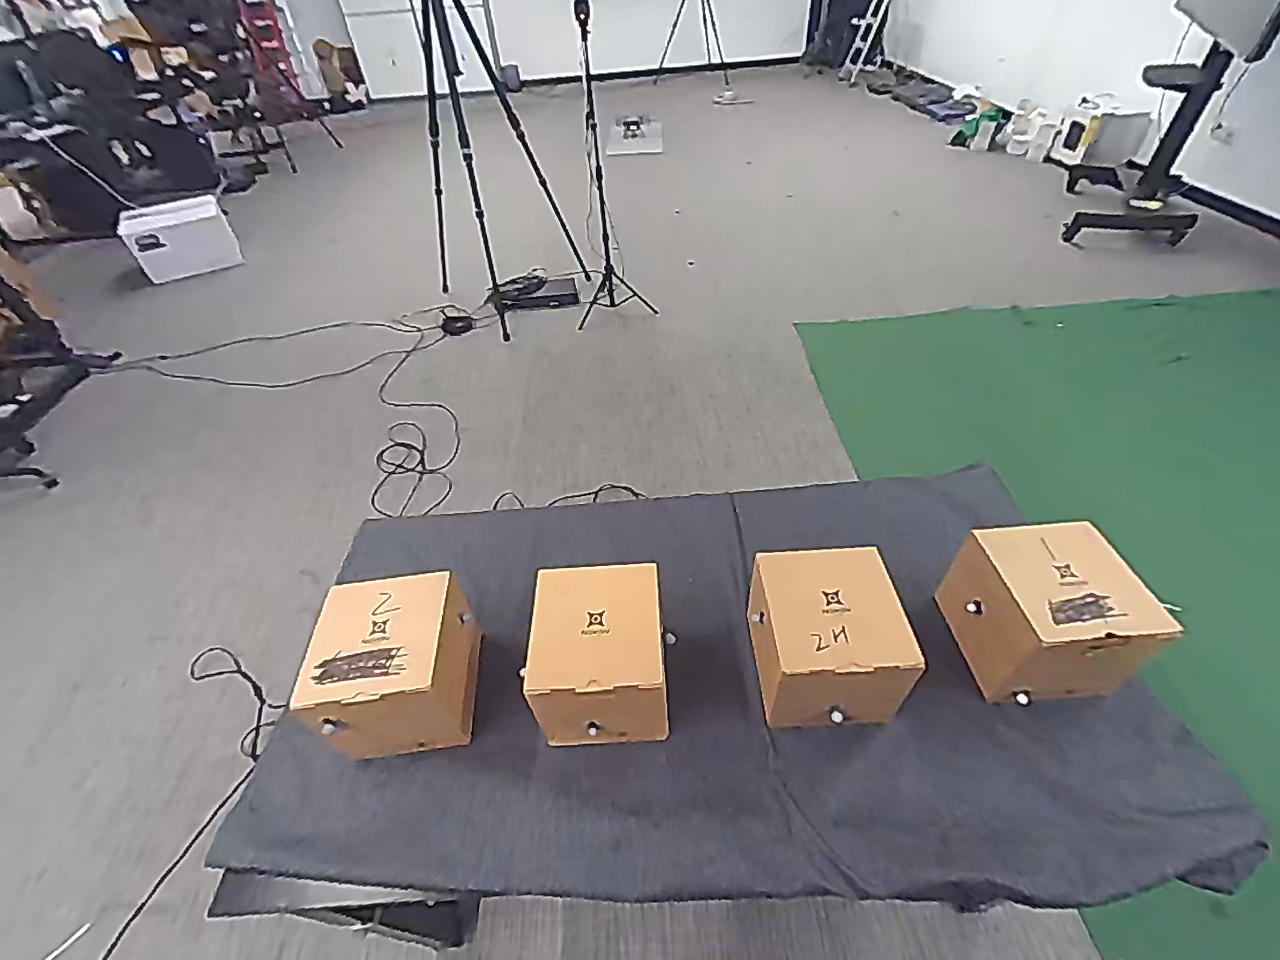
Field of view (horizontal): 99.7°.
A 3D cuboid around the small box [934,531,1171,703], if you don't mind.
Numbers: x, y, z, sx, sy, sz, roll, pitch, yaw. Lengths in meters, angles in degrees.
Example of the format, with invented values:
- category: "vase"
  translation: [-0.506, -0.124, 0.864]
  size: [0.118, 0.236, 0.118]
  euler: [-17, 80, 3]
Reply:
- category: "small box"
  translation: [0.544, 0.194, 0.747]
  size: [0.168, 0.176, 0.179]
  euler: [-4, 44, 0]

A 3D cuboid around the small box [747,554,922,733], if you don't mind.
- category: "small box"
  translation: [0.246, 0.223, 0.738]
  size: [0.168, 0.176, 0.179]
  euler: [-3, 45, 1]

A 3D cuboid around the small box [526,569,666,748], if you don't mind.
- category: "small box"
  translation: [-0.052, 0.243, 0.739]
  size: [0.168, 0.176, 0.179]
  euler: [-3, 45, 0]
